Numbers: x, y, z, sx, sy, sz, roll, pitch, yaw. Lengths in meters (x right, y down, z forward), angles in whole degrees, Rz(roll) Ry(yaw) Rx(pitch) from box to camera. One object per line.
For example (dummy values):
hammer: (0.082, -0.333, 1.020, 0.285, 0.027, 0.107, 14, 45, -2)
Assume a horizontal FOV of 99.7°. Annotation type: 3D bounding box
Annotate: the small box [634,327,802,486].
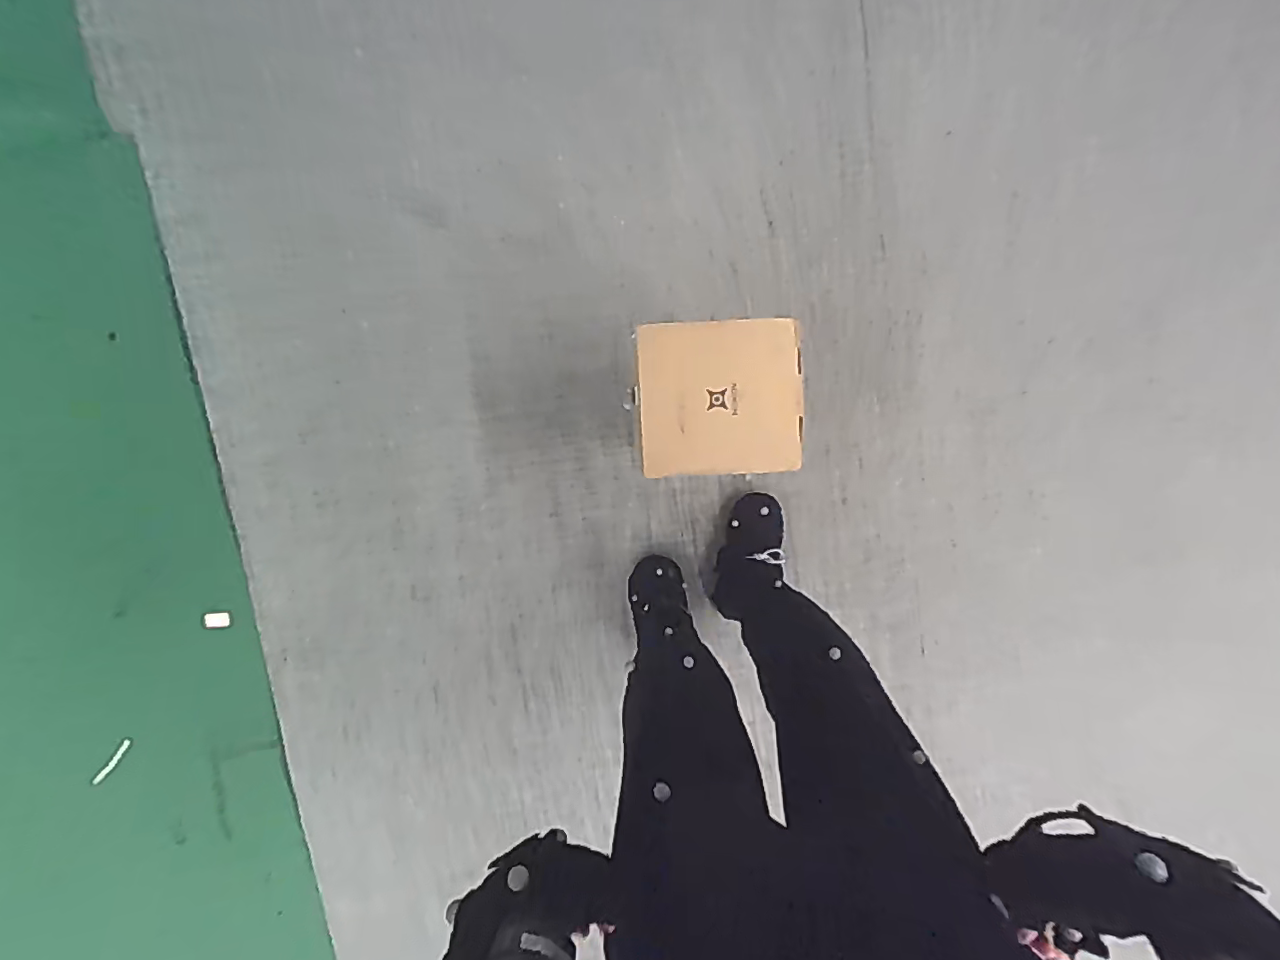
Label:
small box: (0.085, -0.087, 0.659, 0.179, 0.176, 0.168, -4, 96, 0)
